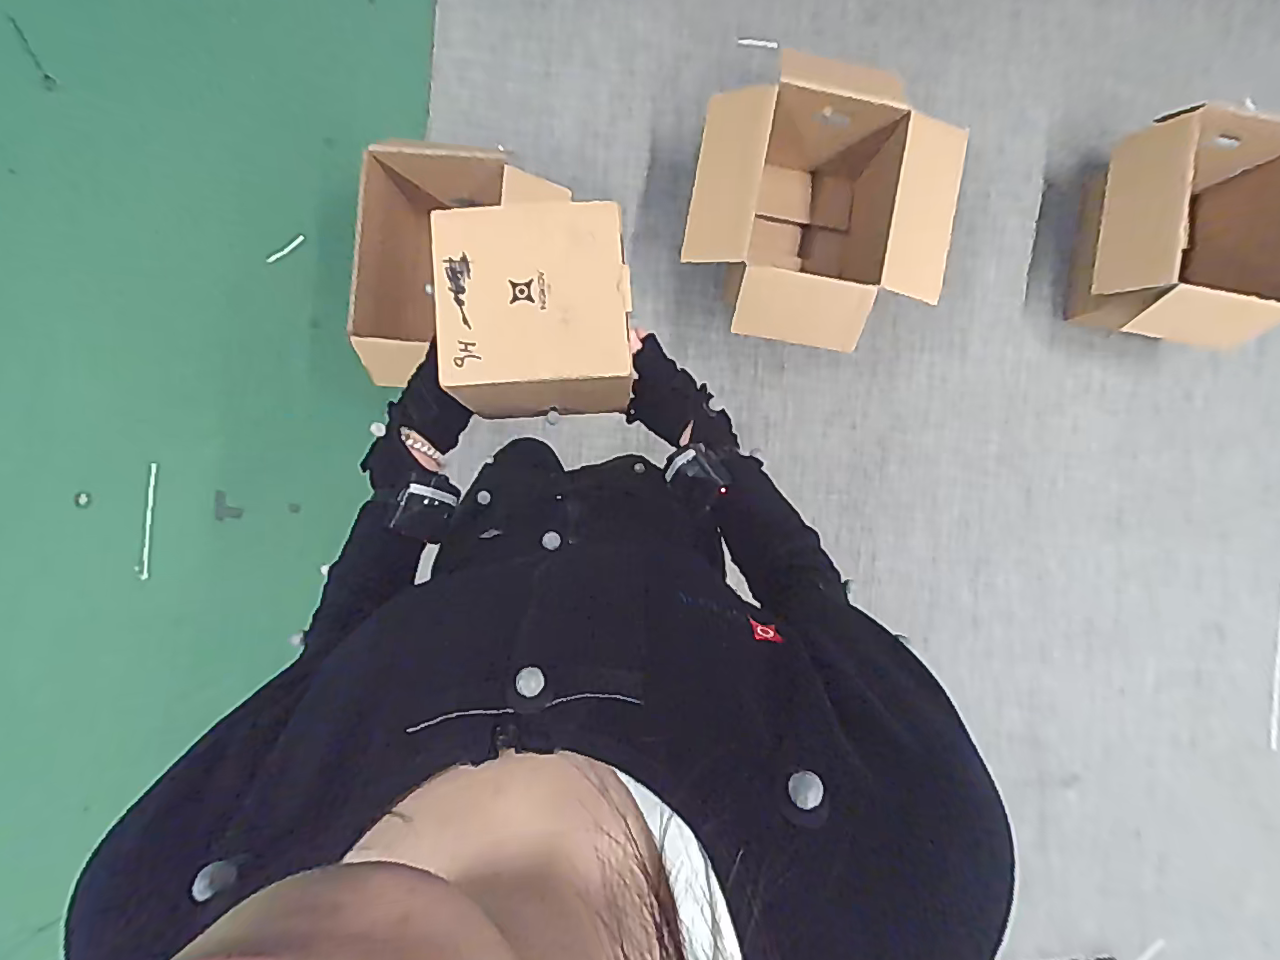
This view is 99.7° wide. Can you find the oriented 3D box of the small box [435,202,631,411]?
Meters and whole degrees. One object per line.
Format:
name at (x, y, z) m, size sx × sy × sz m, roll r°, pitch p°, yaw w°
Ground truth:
small box at (-0.105, -0.170, 0.576) m, size 0.179 × 0.176 × 0.168 m, roll -3°, pitch 86°, yaw -4°
